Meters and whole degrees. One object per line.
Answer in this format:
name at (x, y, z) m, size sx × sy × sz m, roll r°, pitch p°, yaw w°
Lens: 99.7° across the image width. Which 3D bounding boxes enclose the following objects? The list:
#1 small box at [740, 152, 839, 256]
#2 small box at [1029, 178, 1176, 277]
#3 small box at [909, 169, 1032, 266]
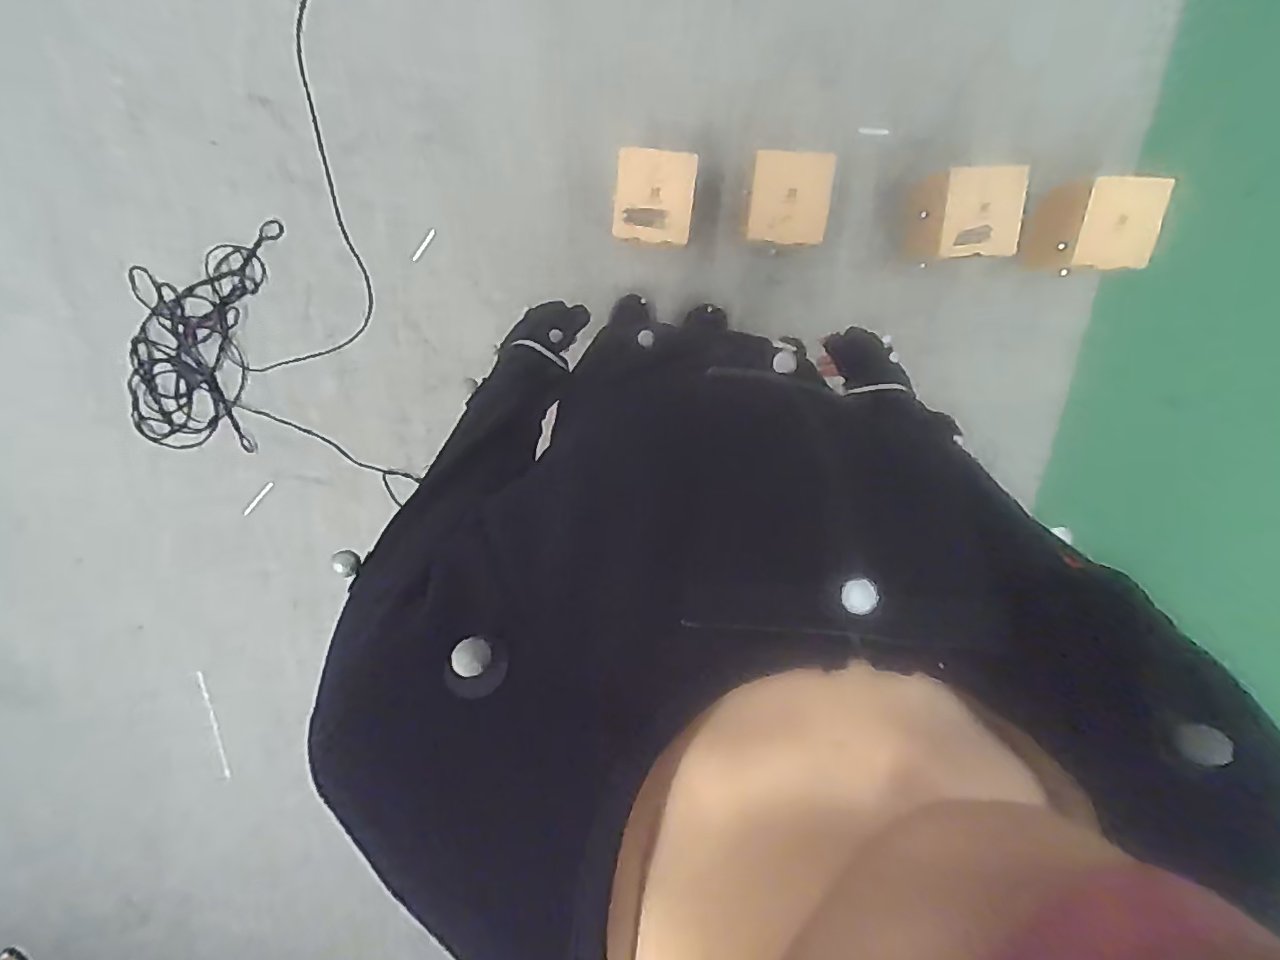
small box at (0.324, -0.609, 1.210) m, size 0.168 × 0.176 × 0.179 m, roll 5°, pitch 109°, yaw 1°
small box at (1.018, -0.557, 1.210) m, size 0.168 × 0.176 × 0.179 m, roll 3°, pitch 108°, yaw 1°
small box at (0.726, -0.578, 1.211) m, size 0.168 × 0.176 × 0.179 m, roll -1°, pitch 107°, yaw 2°
